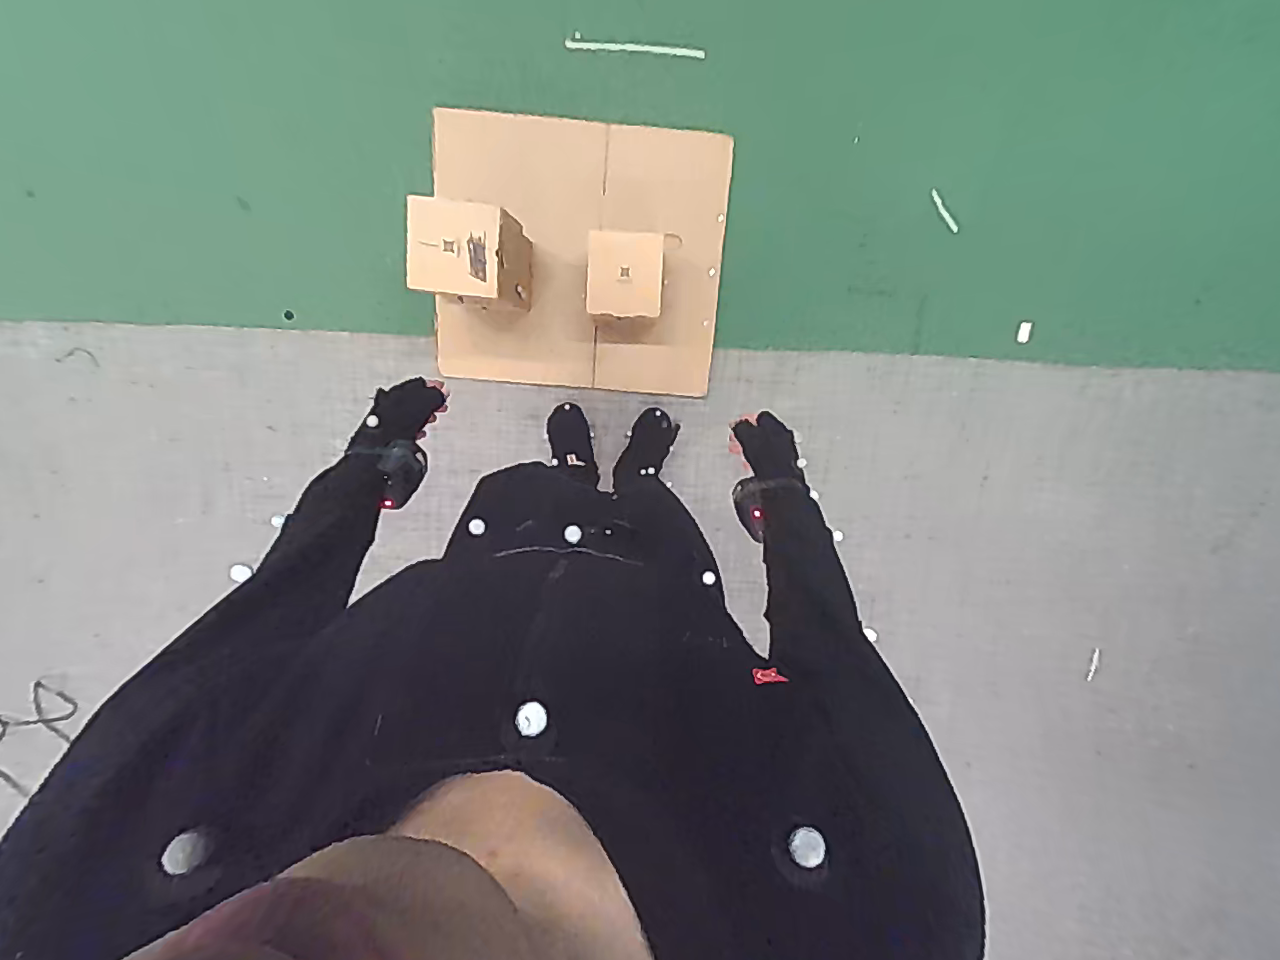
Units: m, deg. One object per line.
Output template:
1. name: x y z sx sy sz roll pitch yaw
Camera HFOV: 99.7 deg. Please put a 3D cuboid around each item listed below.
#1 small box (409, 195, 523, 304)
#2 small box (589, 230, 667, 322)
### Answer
1. small box: -0.339 -0.450 1.079 0.179 0.176 0.168 7 104 0
2. small box: -0.029 -0.465 1.250 0.168 0.176 0.179 3 105 -1
